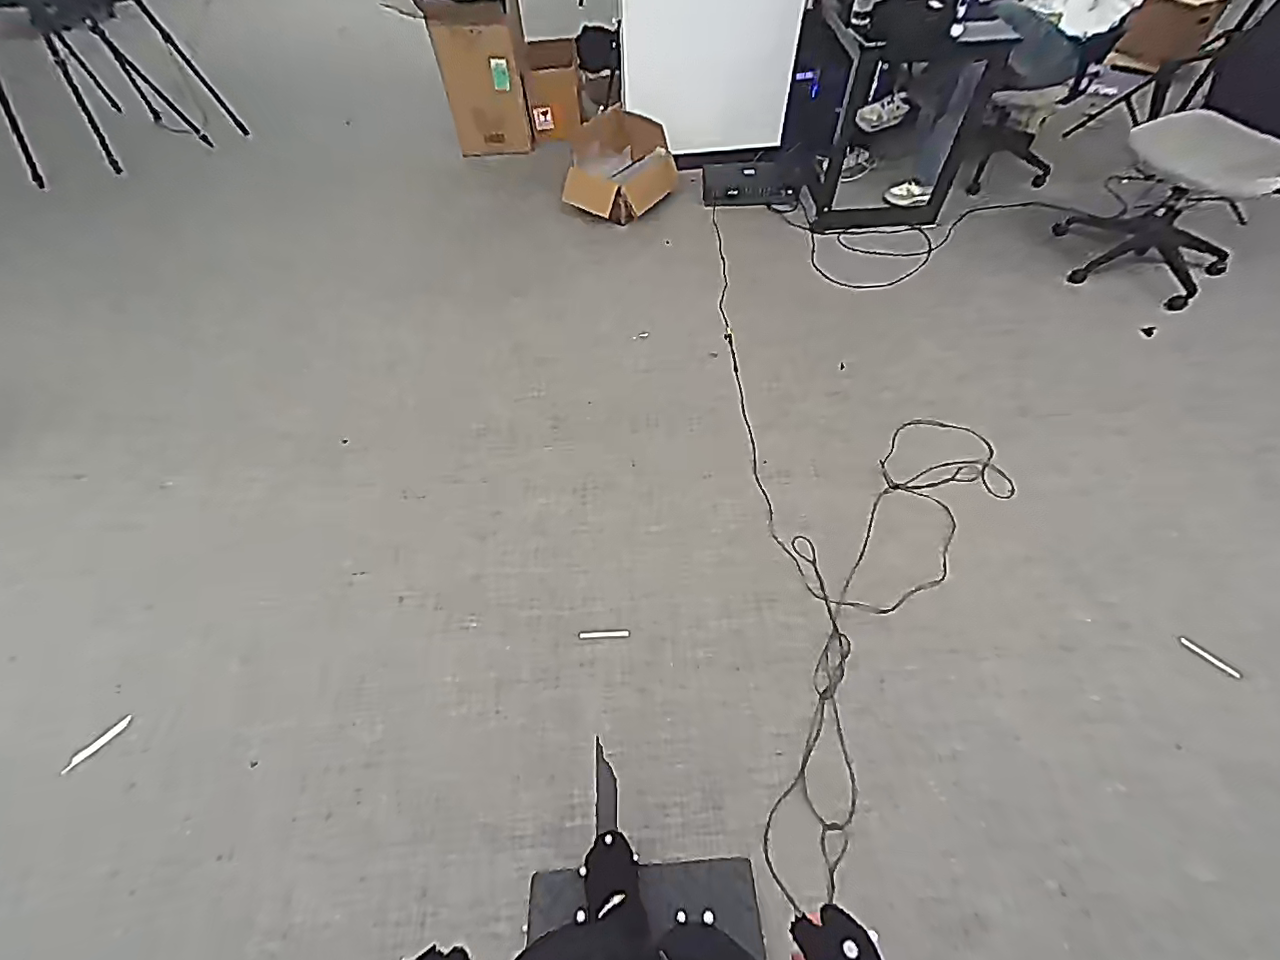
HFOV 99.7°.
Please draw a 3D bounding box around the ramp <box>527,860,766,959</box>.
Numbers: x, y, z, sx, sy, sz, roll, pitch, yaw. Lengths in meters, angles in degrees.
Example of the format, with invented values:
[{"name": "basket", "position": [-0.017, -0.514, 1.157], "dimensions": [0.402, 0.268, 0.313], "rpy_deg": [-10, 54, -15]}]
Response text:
[{"name": "ramp", "position": [0.029, 1.223, 0.863], "dimensions": [0.509, 0.206, 0.991], "rpy_deg": [-6, 55, 0]}]
